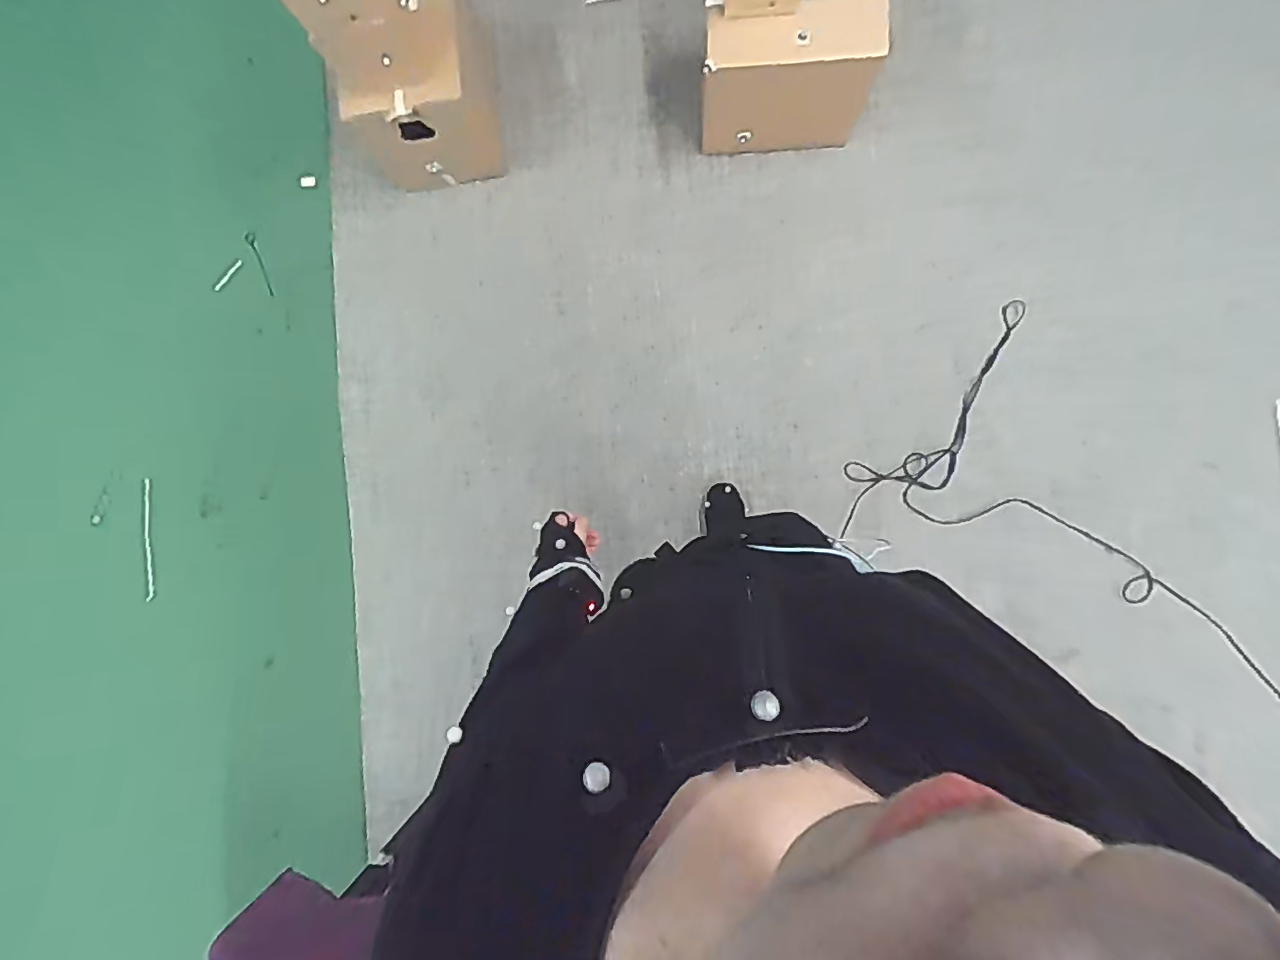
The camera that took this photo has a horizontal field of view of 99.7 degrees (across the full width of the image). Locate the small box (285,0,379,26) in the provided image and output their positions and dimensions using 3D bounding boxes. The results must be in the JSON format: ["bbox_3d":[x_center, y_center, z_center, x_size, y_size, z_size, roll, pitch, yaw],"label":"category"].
[{"bbox_3d":[-0.635,-1.037,1.052,0.168,0.176,0.179,-11,86,4],"label":"small box"}]

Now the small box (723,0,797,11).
[{"bbox_3d":[0.262,-1.135,1.138,0.168,0.176,0.179,0,85,5],"label":"small box"}]

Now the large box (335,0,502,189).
[{"bbox_3d":[-0.587,-1.084,1.459,0.320,0.320,0.408,-6,86,5],"label":"large box"}]

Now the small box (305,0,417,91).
[{"bbox_3d":[-0.620,-1.023,1.215,0.179,0.176,0.168,-7,87,6],"label":"small box"}]
